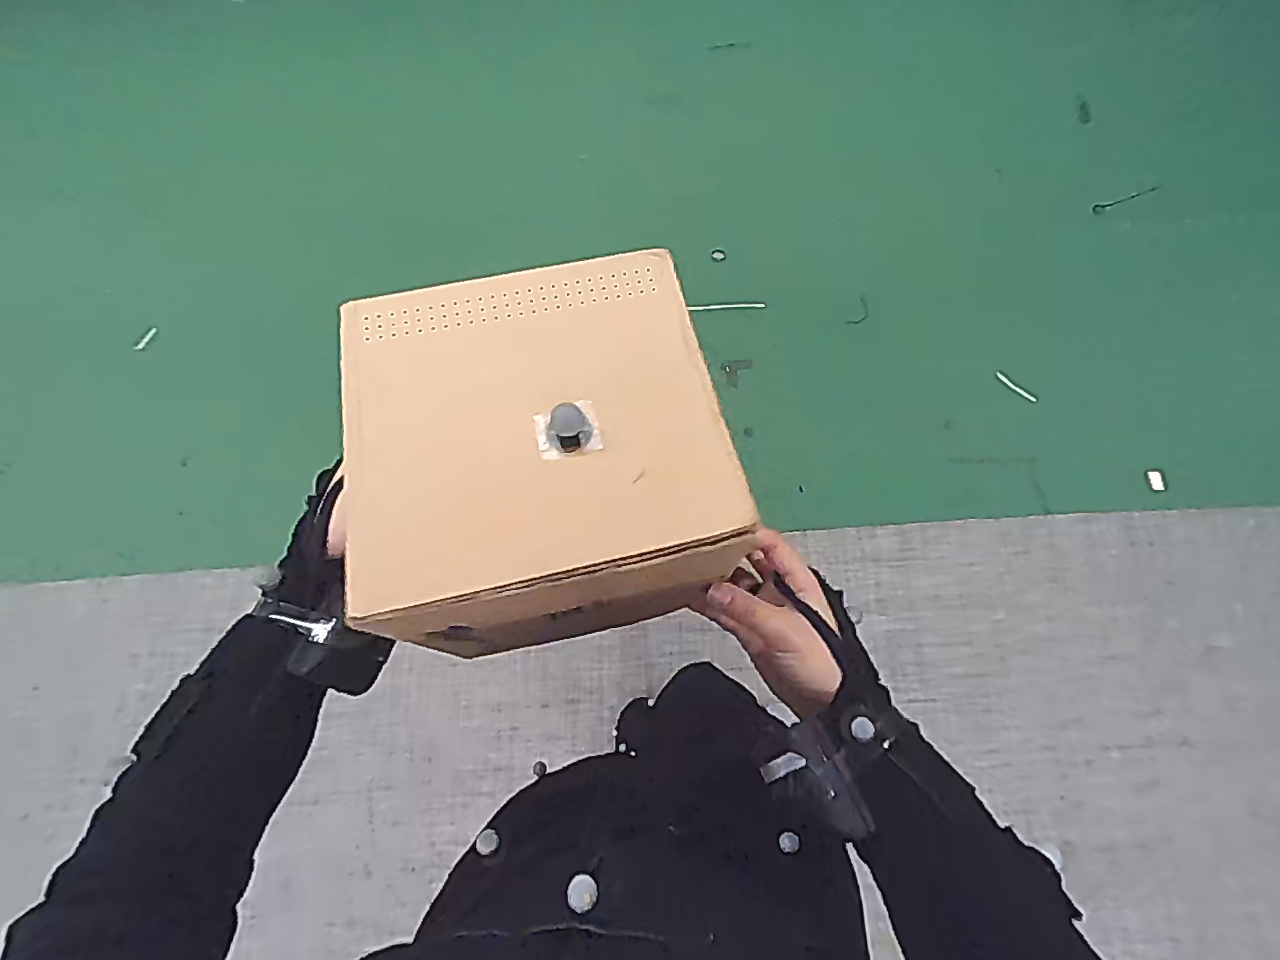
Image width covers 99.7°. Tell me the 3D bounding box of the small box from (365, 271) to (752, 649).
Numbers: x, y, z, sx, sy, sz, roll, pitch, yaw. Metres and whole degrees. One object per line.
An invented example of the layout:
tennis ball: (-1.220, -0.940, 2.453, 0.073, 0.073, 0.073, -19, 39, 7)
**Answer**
small box: (-0.051, -0.006, 0.341, 0.179, 0.168, 0.176, -12, 66, -5)
